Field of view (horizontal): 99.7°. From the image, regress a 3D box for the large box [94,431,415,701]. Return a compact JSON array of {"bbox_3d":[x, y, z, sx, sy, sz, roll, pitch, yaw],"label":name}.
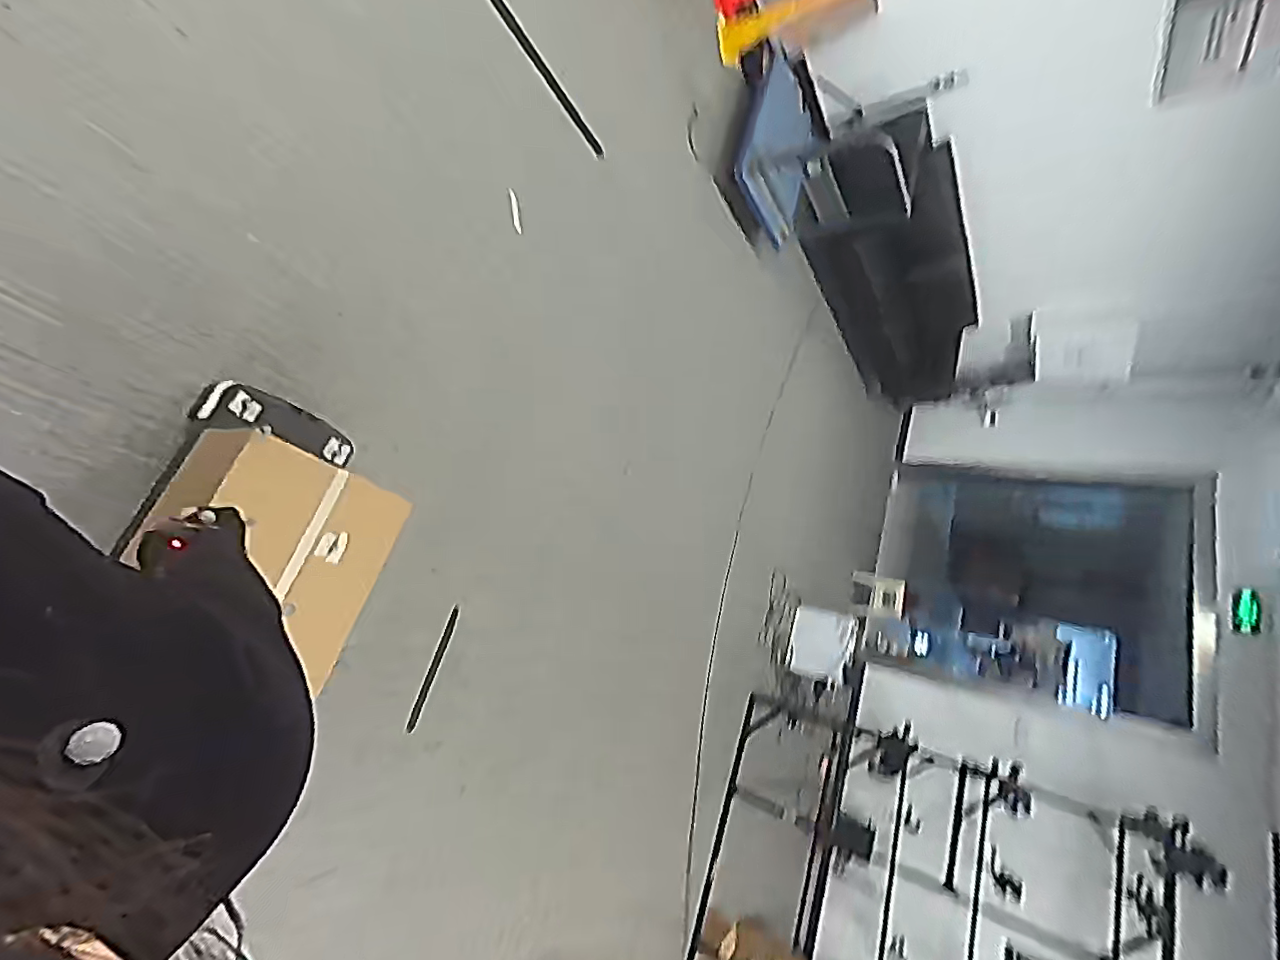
[{"bbox_3d":[-0.715,0.157,1.028,0.320,0.320,0.408,39,62,-46],"label":"large box"}]
